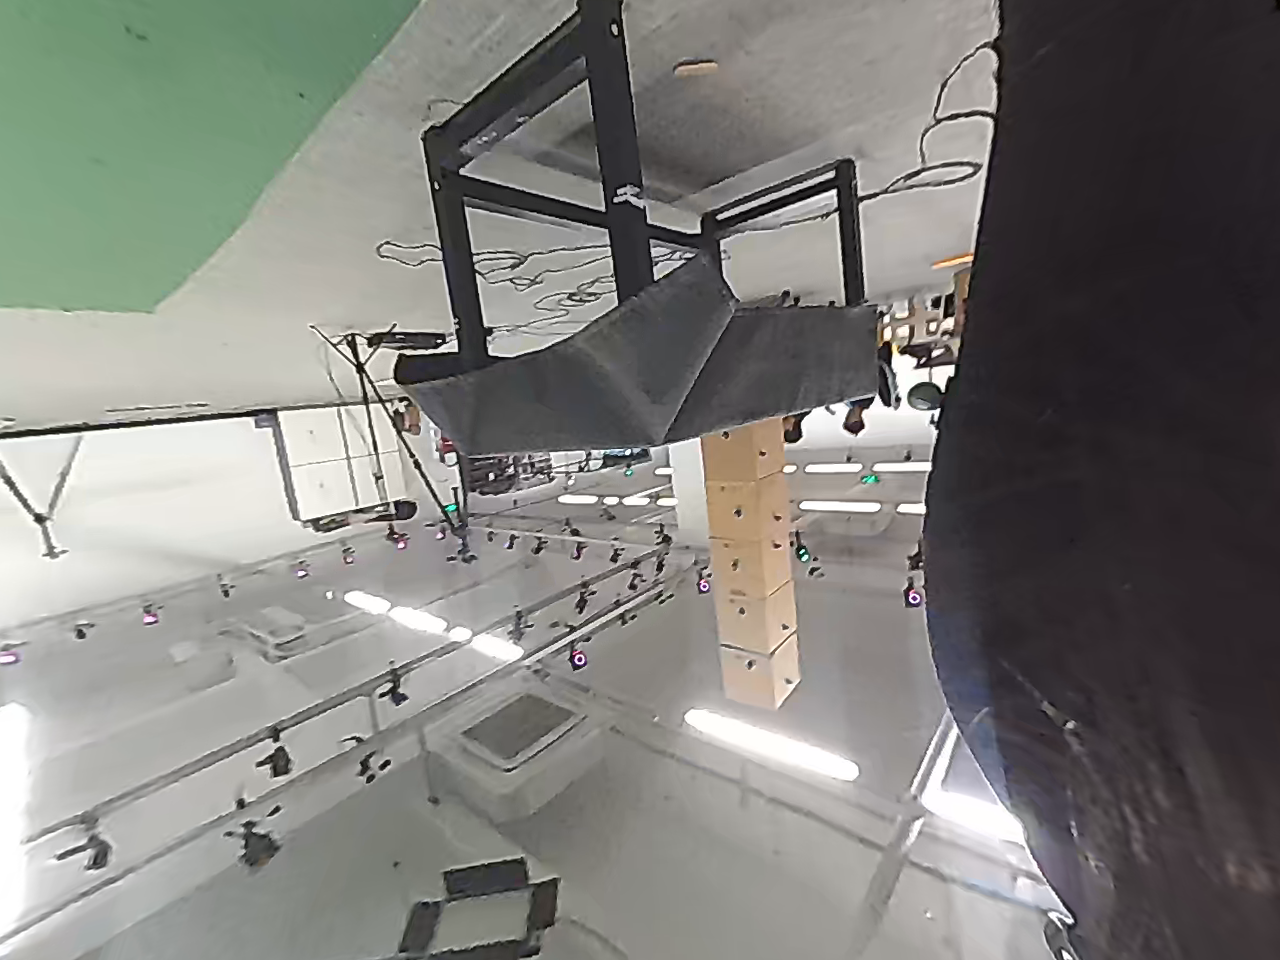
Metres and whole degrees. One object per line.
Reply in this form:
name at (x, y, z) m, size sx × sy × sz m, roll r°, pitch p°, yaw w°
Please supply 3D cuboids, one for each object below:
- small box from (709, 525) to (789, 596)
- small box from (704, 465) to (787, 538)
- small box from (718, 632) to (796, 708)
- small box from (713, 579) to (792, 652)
small box at (0.312, 0.217, 1.557) m, size 0.168 × 0.176 × 0.179 m, roll 0°, pitch -169°, yaw 39°
small box at (0.295, 0.057, 1.527) m, size 0.168 × 0.176 × 0.179 m, roll 1°, pitch -169°, yaw 42°
small box at (0.350, 0.539, 1.608) m, size 0.168 × 0.176 × 0.179 m, roll -2°, pitch -170°, yaw 39°
small box at (0.332, 0.377, 1.587) m, size 0.168 × 0.176 × 0.179 m, roll 0°, pitch -170°, yaw 41°
